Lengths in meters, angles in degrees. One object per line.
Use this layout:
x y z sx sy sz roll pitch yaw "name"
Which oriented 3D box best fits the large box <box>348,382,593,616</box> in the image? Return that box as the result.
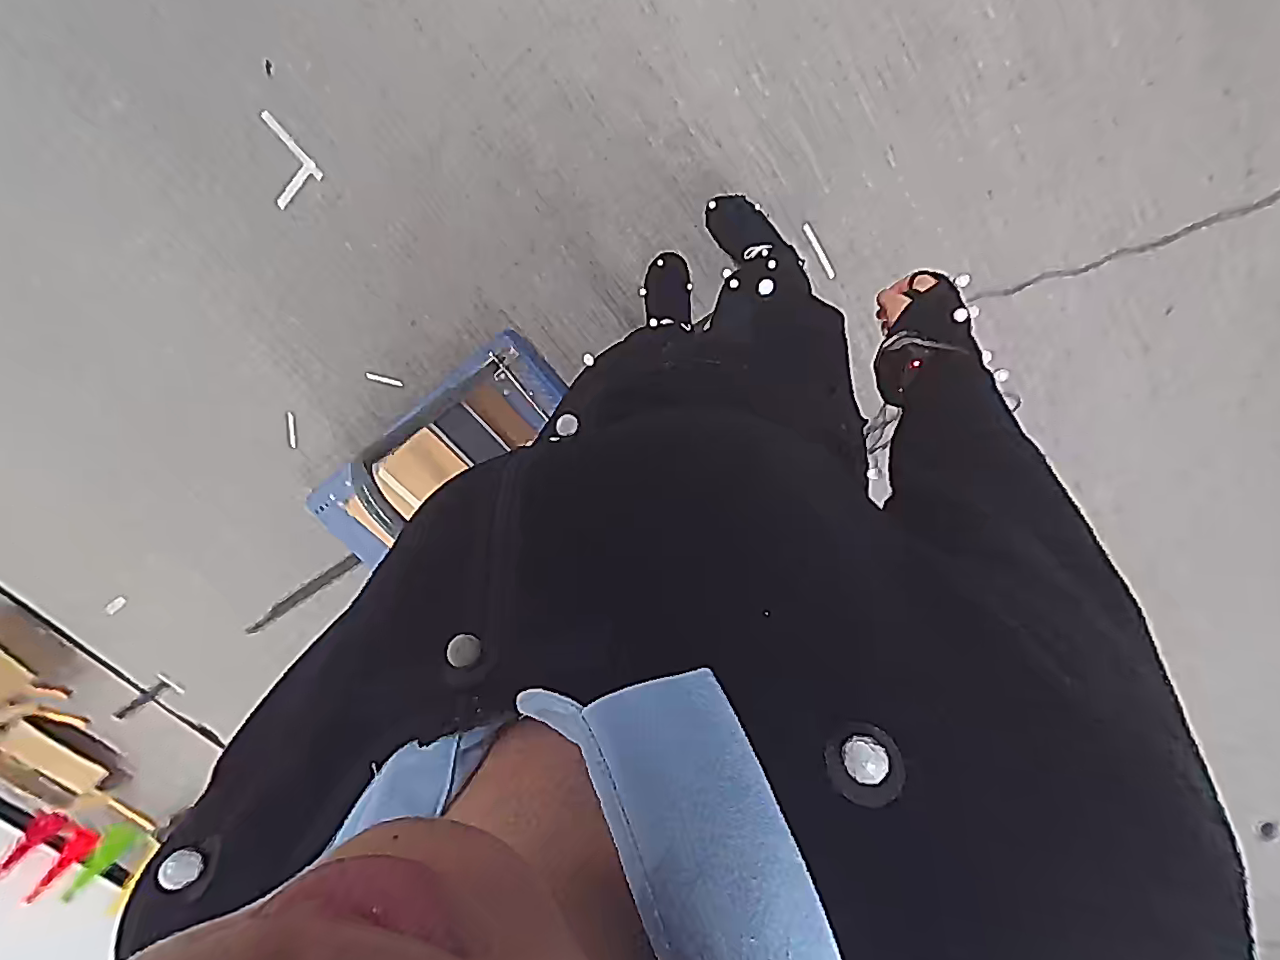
-0.382 0.040 1.309 0.320 0.320 0.408 -36 107 23 "large box"
